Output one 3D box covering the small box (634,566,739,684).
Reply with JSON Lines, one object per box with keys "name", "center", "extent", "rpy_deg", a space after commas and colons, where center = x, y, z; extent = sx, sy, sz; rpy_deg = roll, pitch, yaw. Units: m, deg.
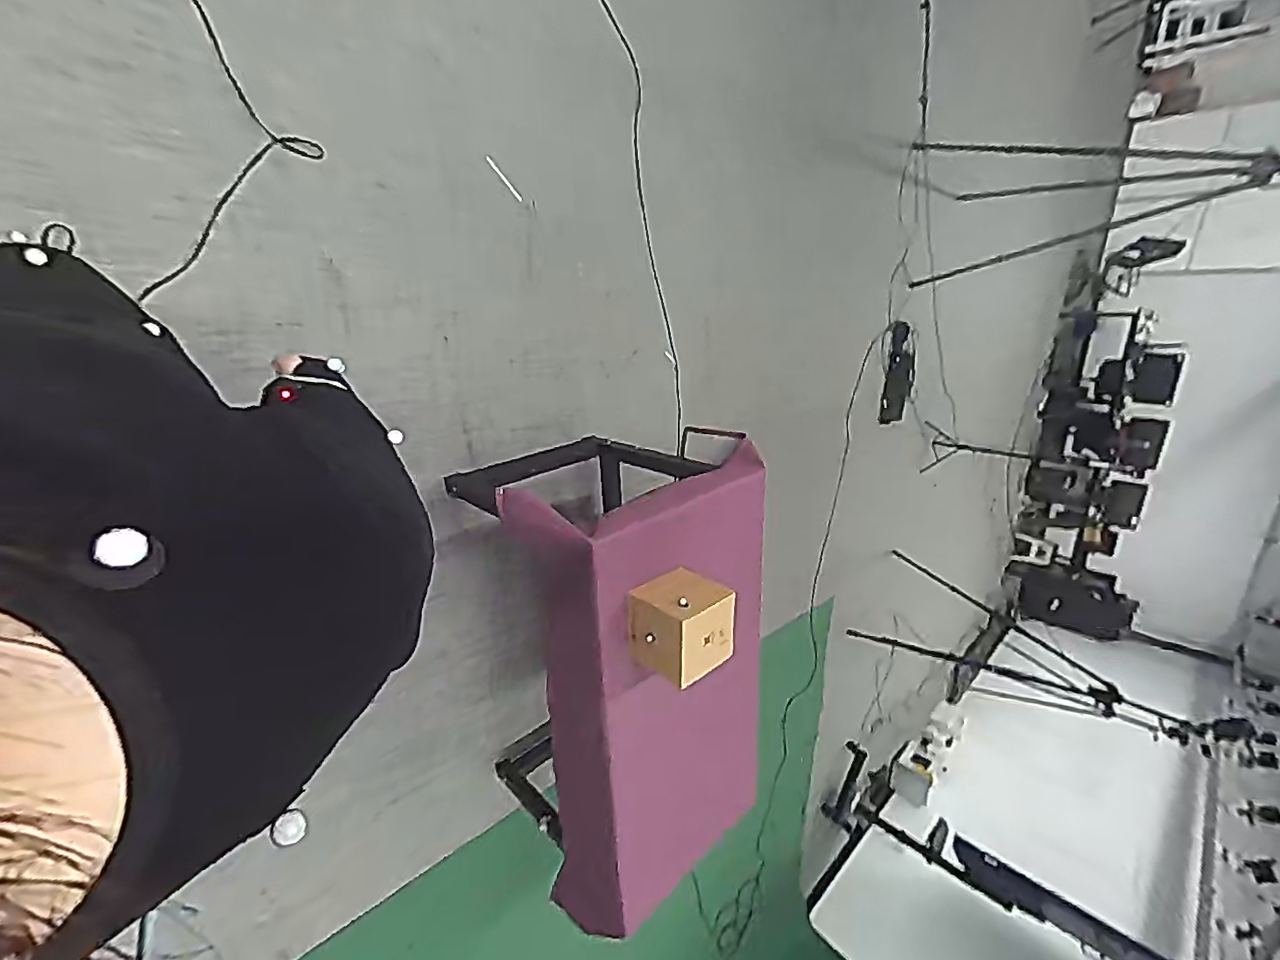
{"name": "small box", "center": [0.099, 0.315, 1.213], "extent": [0.179, 0.176, 0.168], "rpy_deg": [-17, 115, -41]}
